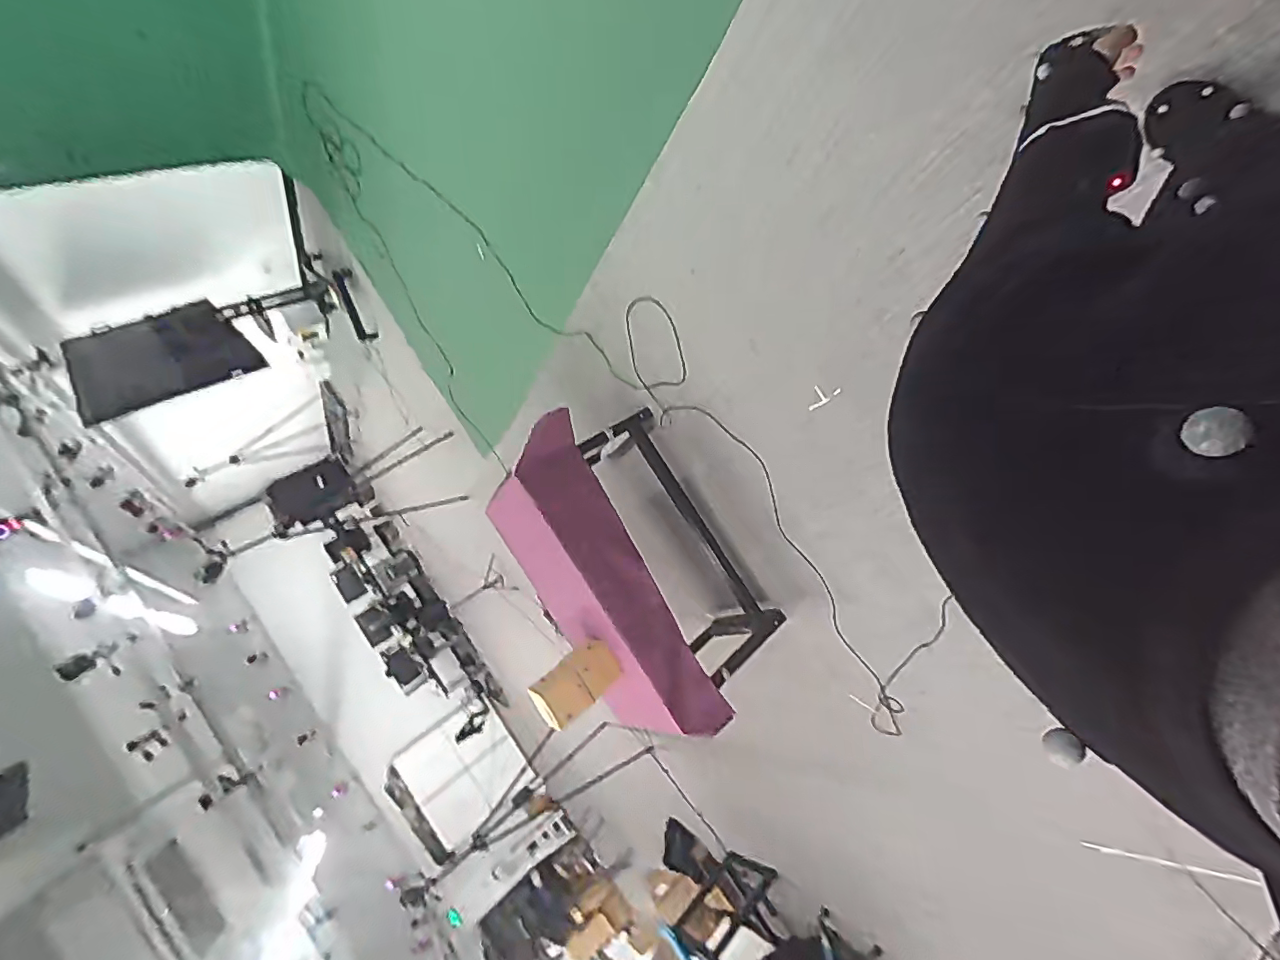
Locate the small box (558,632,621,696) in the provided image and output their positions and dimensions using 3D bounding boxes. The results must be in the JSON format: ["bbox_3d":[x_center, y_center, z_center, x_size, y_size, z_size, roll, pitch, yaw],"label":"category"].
[{"bbox_3d":[-0.209,0.764,2.262,0.168,0.176,0.179,-14,105,57],"label":"small box"}]
